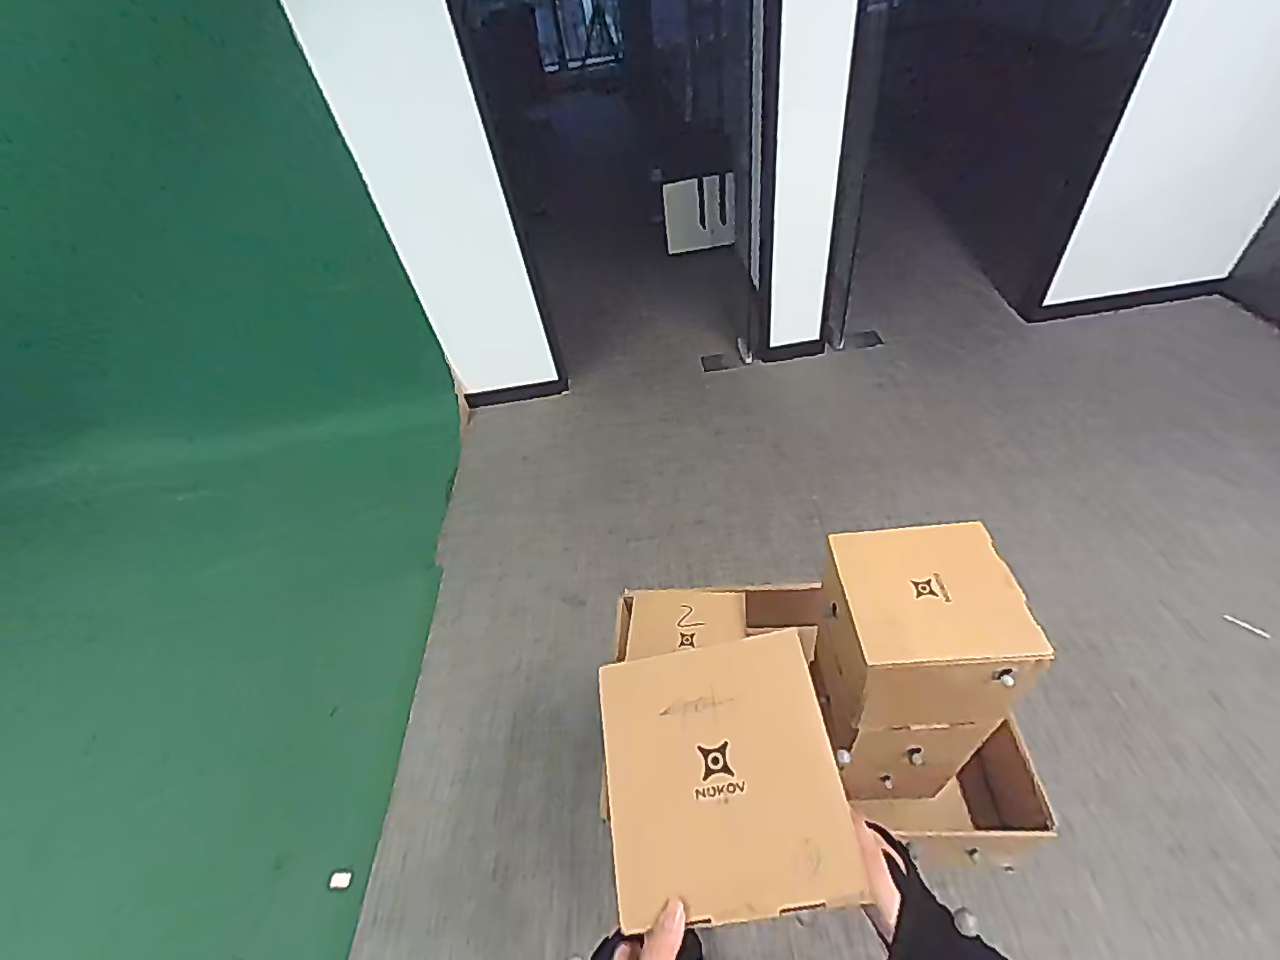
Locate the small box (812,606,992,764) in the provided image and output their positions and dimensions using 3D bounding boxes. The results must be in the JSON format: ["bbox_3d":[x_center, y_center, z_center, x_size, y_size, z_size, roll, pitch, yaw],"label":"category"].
[{"bbox_3d":[0.345,0.283,0.753,0.168,0.176,0.179,-6,47,5],"label":"small box"}]

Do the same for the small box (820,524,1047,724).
[{"bbox_3d":[0.317,0.173,0.635,0.179,0.176,0.168,-6,46,6],"label":"small box"}]

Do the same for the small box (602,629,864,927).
[{"bbox_3d":[0.074,0.247,0.459,0.168,0.176,0.179,-12,56,7],"label":"small box"}]
